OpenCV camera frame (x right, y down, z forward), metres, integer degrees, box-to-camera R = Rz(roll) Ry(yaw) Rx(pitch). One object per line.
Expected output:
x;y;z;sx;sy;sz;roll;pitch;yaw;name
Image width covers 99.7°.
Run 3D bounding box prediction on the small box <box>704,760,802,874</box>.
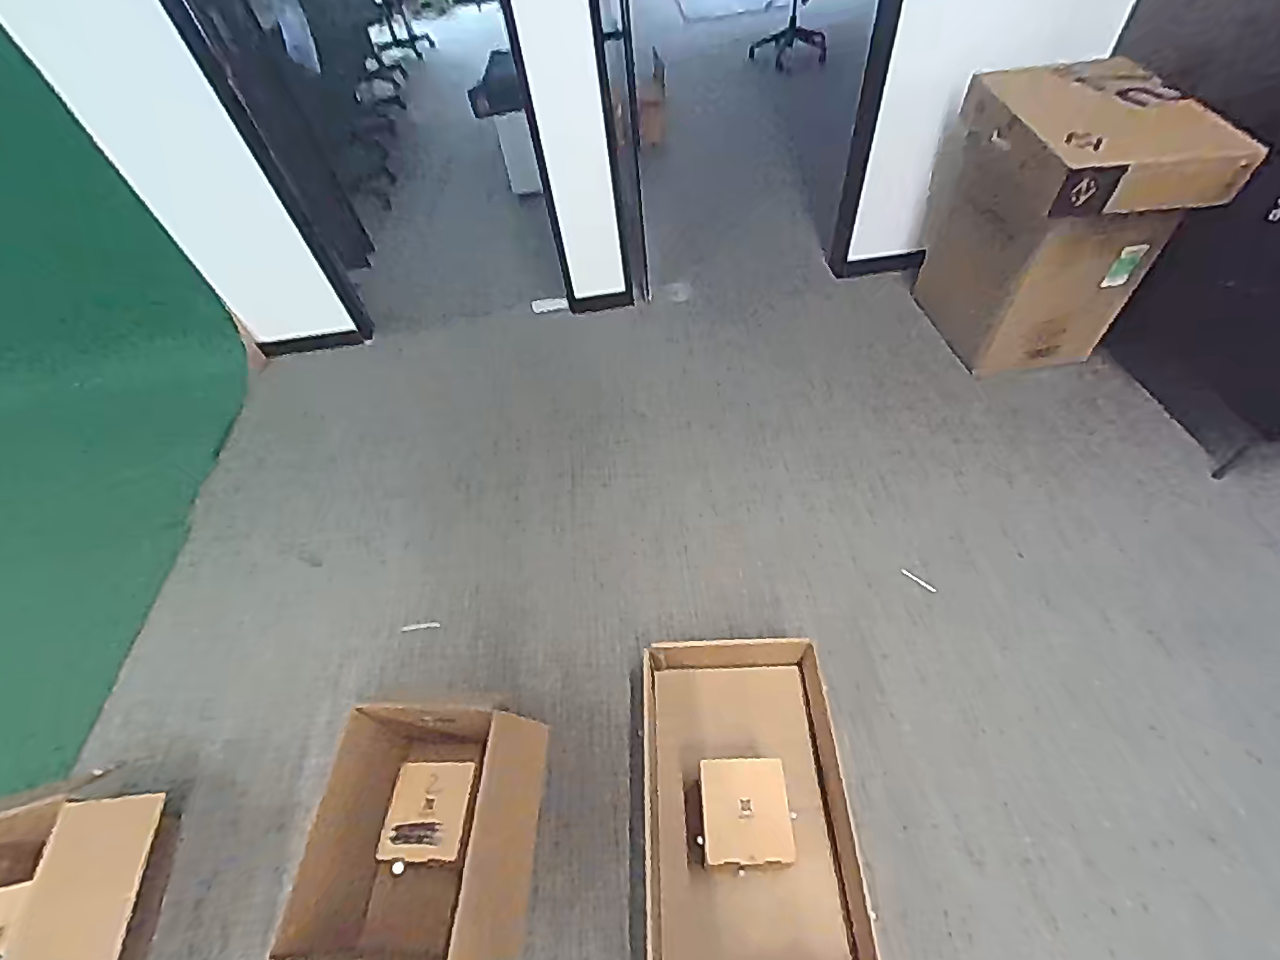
0.219;0.683;1.093;0.168;0.176;0.179;-4;51;4;small box
